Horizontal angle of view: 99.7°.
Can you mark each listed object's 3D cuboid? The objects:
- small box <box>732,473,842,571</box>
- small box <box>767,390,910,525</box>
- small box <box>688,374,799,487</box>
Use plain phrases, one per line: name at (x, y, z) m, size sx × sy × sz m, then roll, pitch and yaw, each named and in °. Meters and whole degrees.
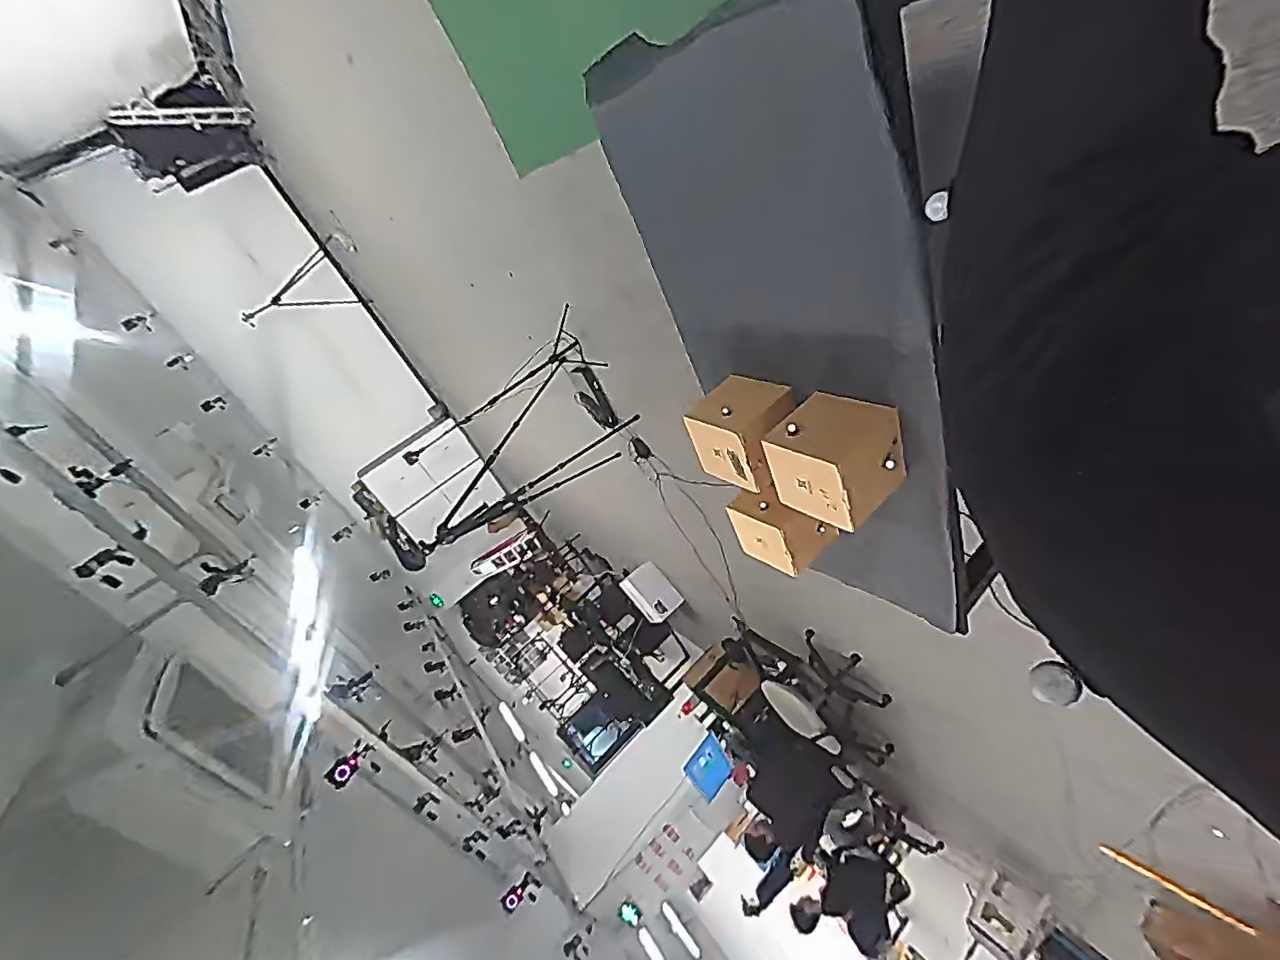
small box at (0.362, 0.086, 1.323) m, size 0.179 × 0.176 × 0.168 m, roll 23°, pitch 149°, yaw 51°
small box at (0.375, -0.050, 1.020) m, size 0.179 × 0.176 × 0.168 m, roll 27°, pitch 151°, yaw 50°
small box at (0.242, -0.116, 1.195) m, size 0.179 × 0.176 × 0.168 m, roll 26°, pitch 151°, yaw 49°
